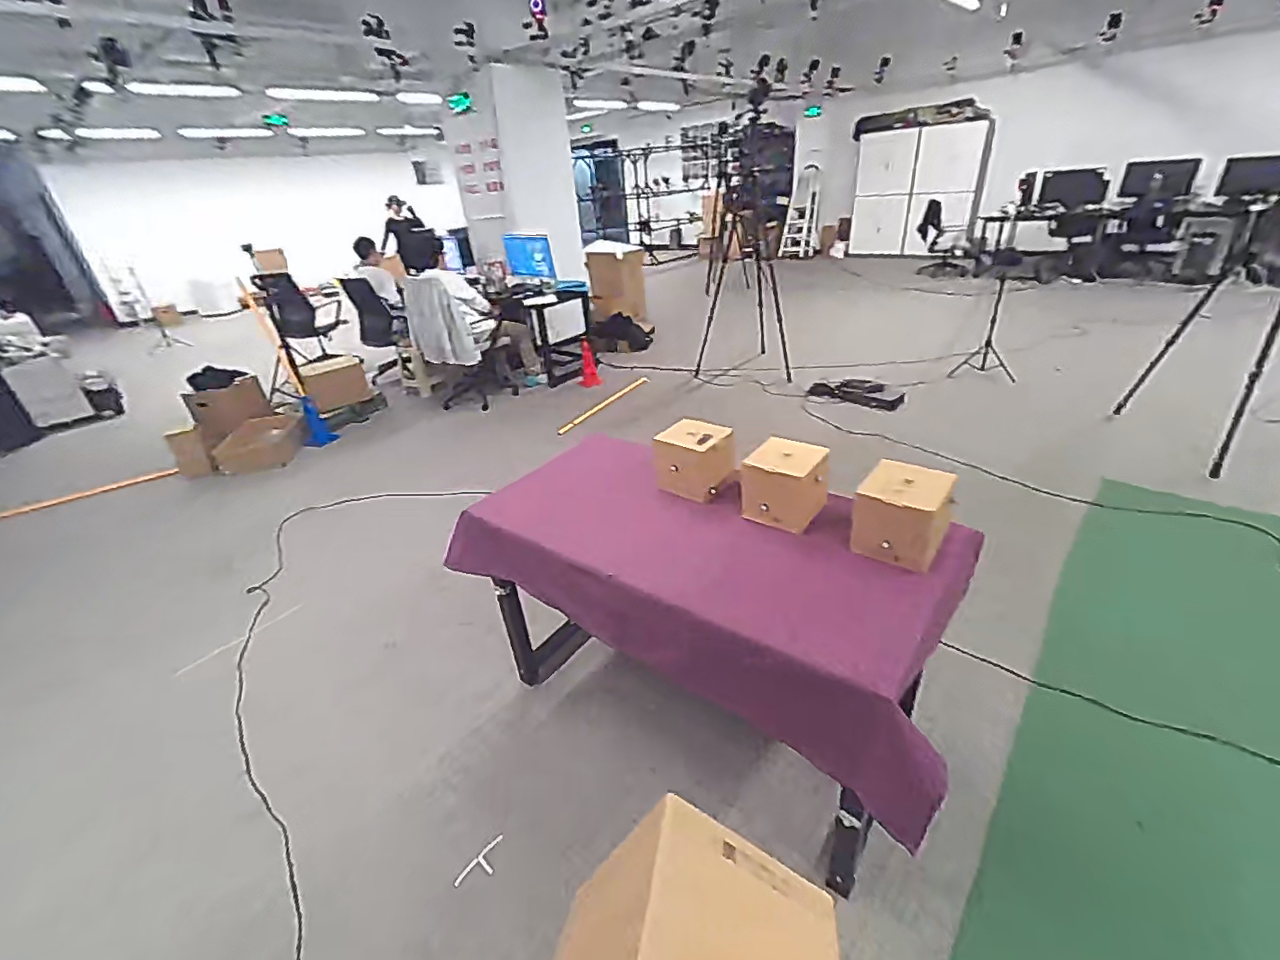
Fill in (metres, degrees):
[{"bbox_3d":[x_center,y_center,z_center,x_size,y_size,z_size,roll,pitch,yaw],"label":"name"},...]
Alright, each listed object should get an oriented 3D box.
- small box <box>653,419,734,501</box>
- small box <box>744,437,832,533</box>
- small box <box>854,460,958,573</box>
[{"bbox_3d":[0.161,-0.057,1.575,0.179,0.176,0.168,18,37,37],"label":"small box"},{"bbox_3d":[0.383,0.011,1.415,0.168,0.176,0.179,17,37,35],"label":"small box"},{"bbox_3d":[0.602,0.079,1.238,0.168,0.176,0.179,18,40,38],"label":"small box"}]
